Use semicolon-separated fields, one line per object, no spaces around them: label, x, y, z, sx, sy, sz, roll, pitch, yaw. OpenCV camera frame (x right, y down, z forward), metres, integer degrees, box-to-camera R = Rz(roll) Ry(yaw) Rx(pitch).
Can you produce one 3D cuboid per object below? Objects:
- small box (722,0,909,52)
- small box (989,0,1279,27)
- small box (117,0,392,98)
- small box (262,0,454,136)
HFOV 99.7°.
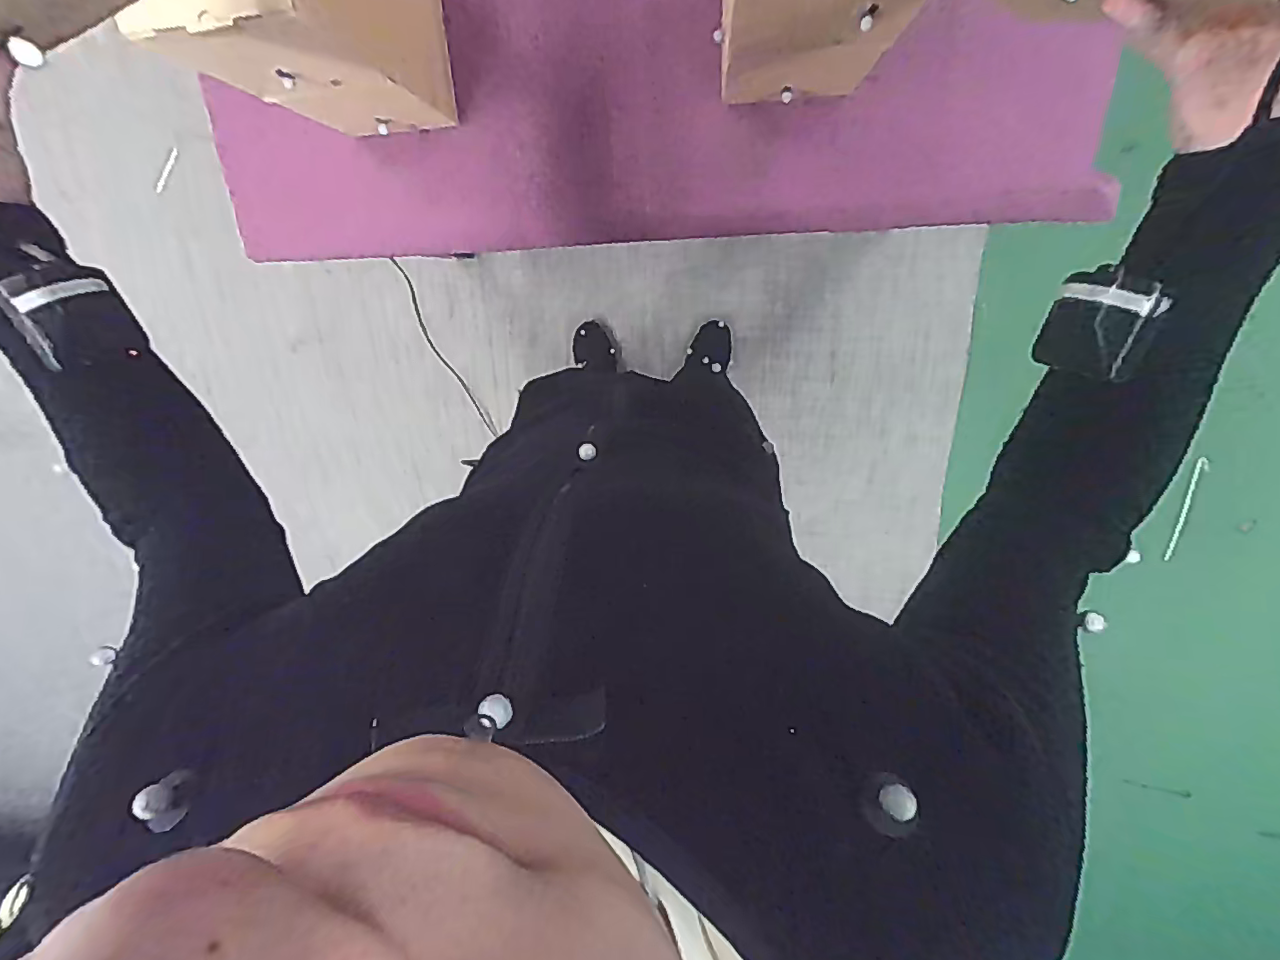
small box;0.153;-0.490;0.450;0.168;0.176;0.179;-1;109;8
small box;0.254;-0.348;0.255;0.179;0.176;0.168;-4;128;-29
small box;-0.368;-0.498;0.512;0.168;0.176;0.179;-2;110;7
small box;-0.350;-0.551;0.665;0.168;0.176;0.179;-1;110;7
